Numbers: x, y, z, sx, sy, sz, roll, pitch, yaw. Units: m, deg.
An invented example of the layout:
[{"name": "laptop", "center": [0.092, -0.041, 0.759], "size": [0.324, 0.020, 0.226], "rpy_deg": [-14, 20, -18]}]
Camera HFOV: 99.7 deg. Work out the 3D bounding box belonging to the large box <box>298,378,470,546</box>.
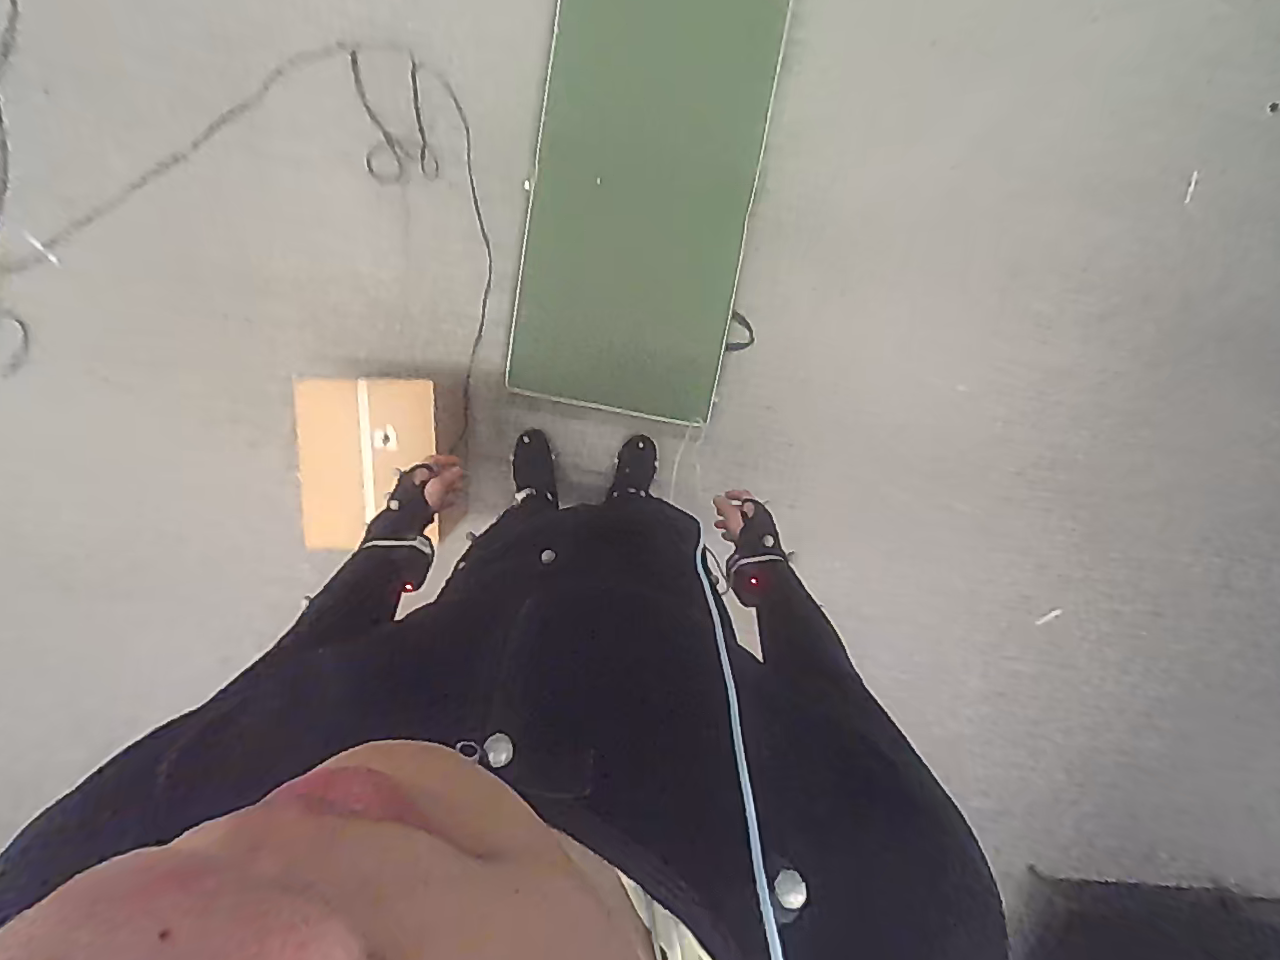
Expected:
[{"name": "large box", "center": [-0.648, -0.056, 1.428], "size": [0.320, 0.320, 0.408], "rpy_deg": [0, 98, -5]}]
